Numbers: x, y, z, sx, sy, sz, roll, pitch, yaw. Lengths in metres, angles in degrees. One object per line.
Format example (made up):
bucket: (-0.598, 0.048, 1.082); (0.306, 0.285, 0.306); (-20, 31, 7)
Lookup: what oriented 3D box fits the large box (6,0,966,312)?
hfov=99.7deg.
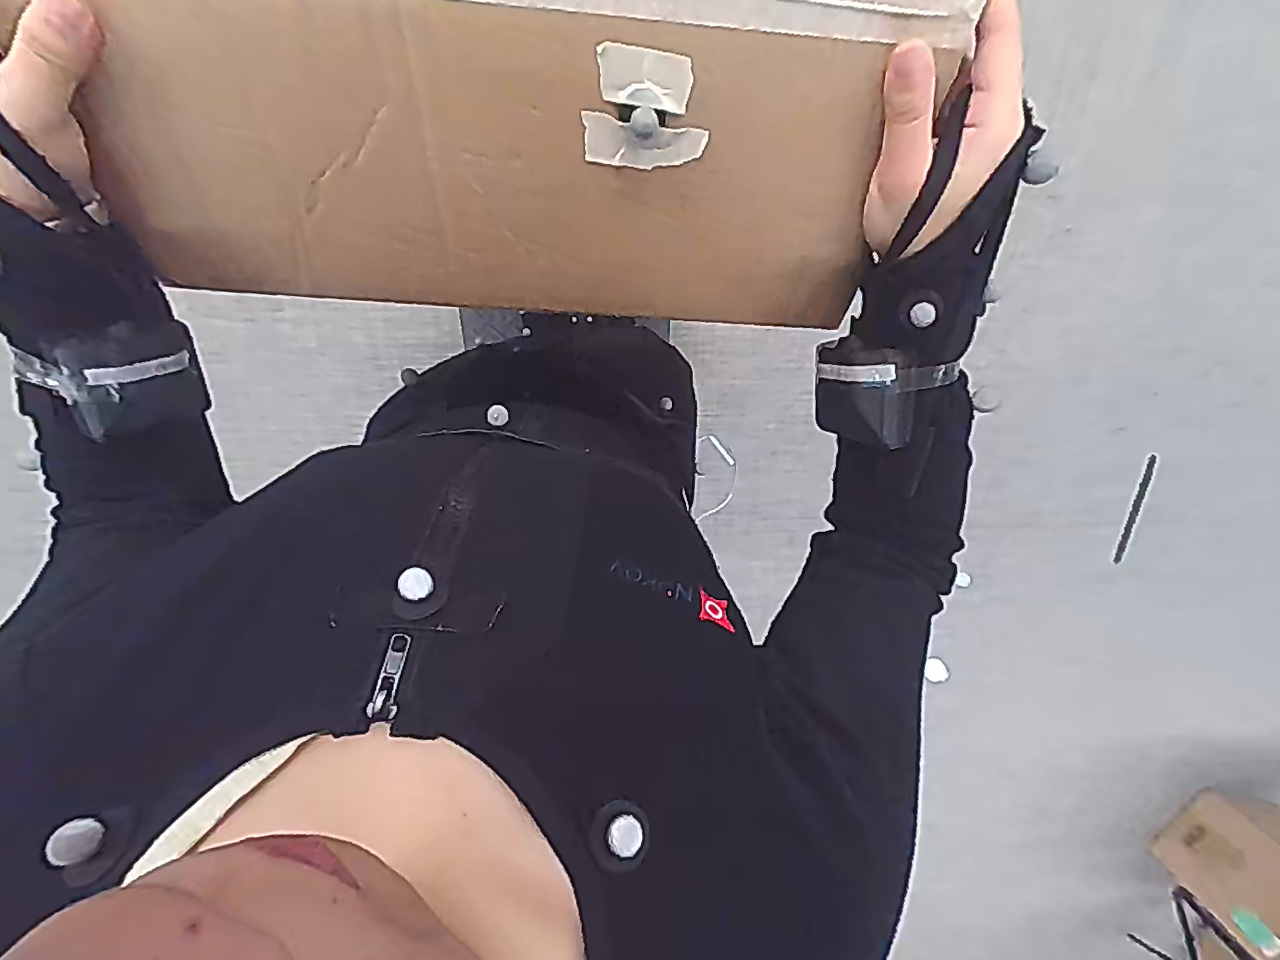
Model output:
large box: (-0.065, -0.323, 0.314); (0.408, 0.320, 0.320); (1, 143, -6)
